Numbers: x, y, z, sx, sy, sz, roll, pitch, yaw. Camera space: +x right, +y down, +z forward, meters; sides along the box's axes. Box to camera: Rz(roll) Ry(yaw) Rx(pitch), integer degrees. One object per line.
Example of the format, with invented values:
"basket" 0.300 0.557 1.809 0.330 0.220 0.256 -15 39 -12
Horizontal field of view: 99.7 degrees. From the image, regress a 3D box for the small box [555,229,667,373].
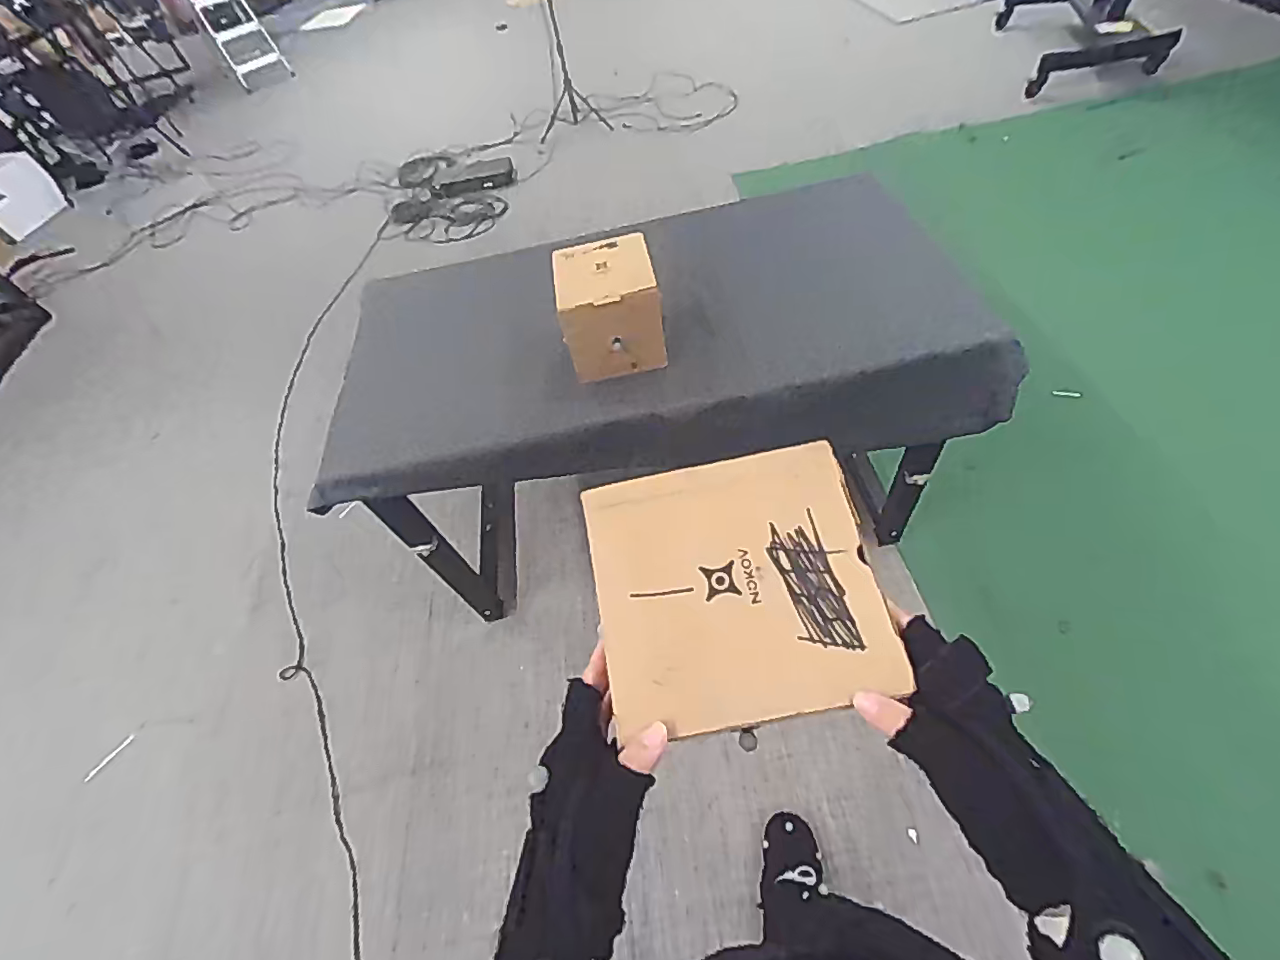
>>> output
"small box" -0.049 -0.310 0.968 0.168 0.176 0.179 -11 54 2
